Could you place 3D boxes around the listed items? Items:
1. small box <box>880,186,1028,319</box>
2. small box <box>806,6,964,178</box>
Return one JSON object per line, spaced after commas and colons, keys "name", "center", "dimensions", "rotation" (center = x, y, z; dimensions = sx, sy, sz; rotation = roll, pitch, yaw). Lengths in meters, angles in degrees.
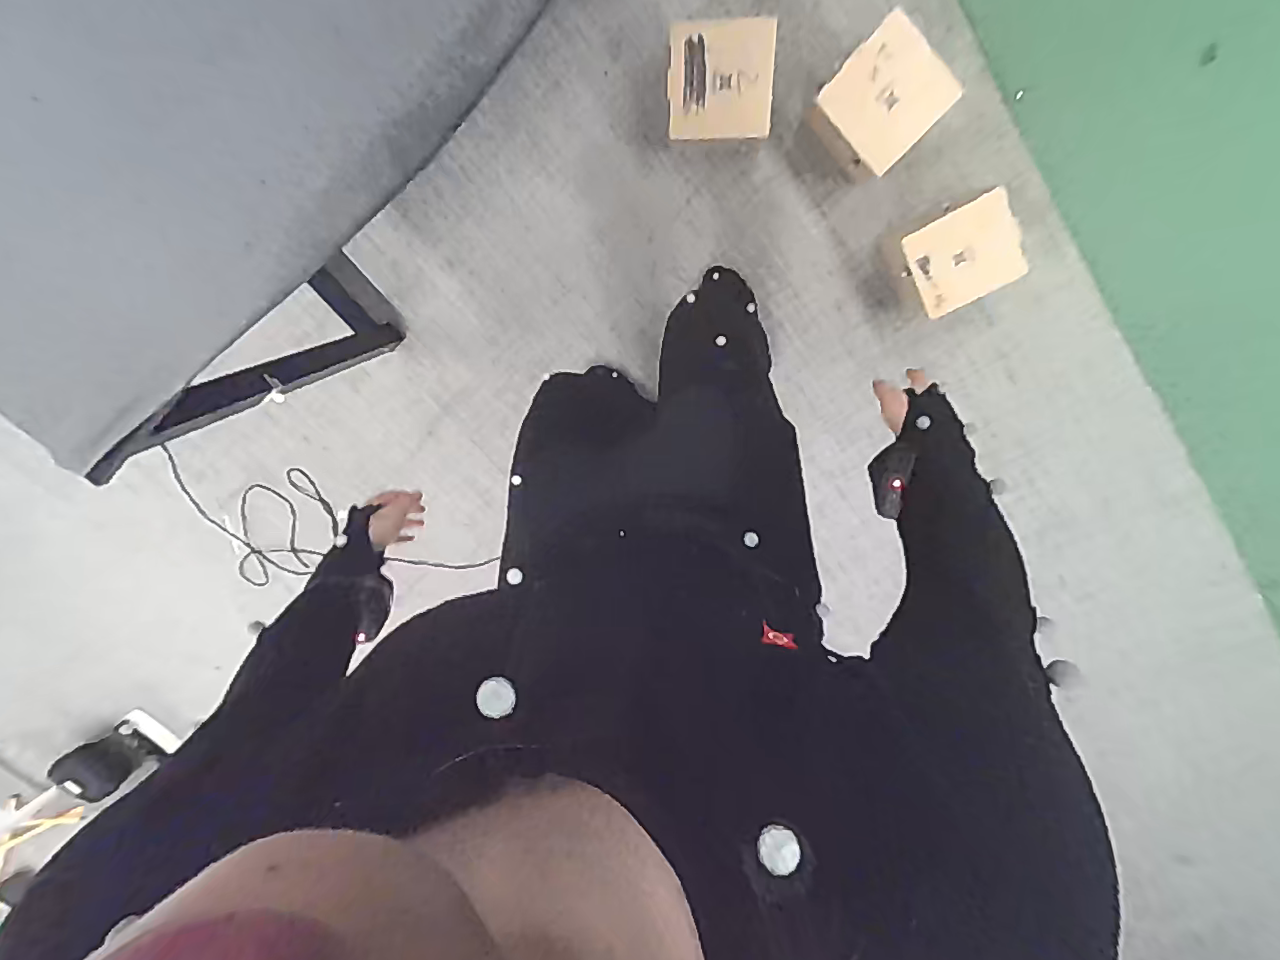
{"name": "small box", "center": [0.592, -0.437, 1.036], "dimensions": [0.179, 0.176, 0.168], "rotation": [-25, 111, 19]}
{"name": "small box", "center": [0.419, -0.664, 0.952], "dimensions": [0.179, 0.176, 0.168], "rotation": [43, 114, -12]}
